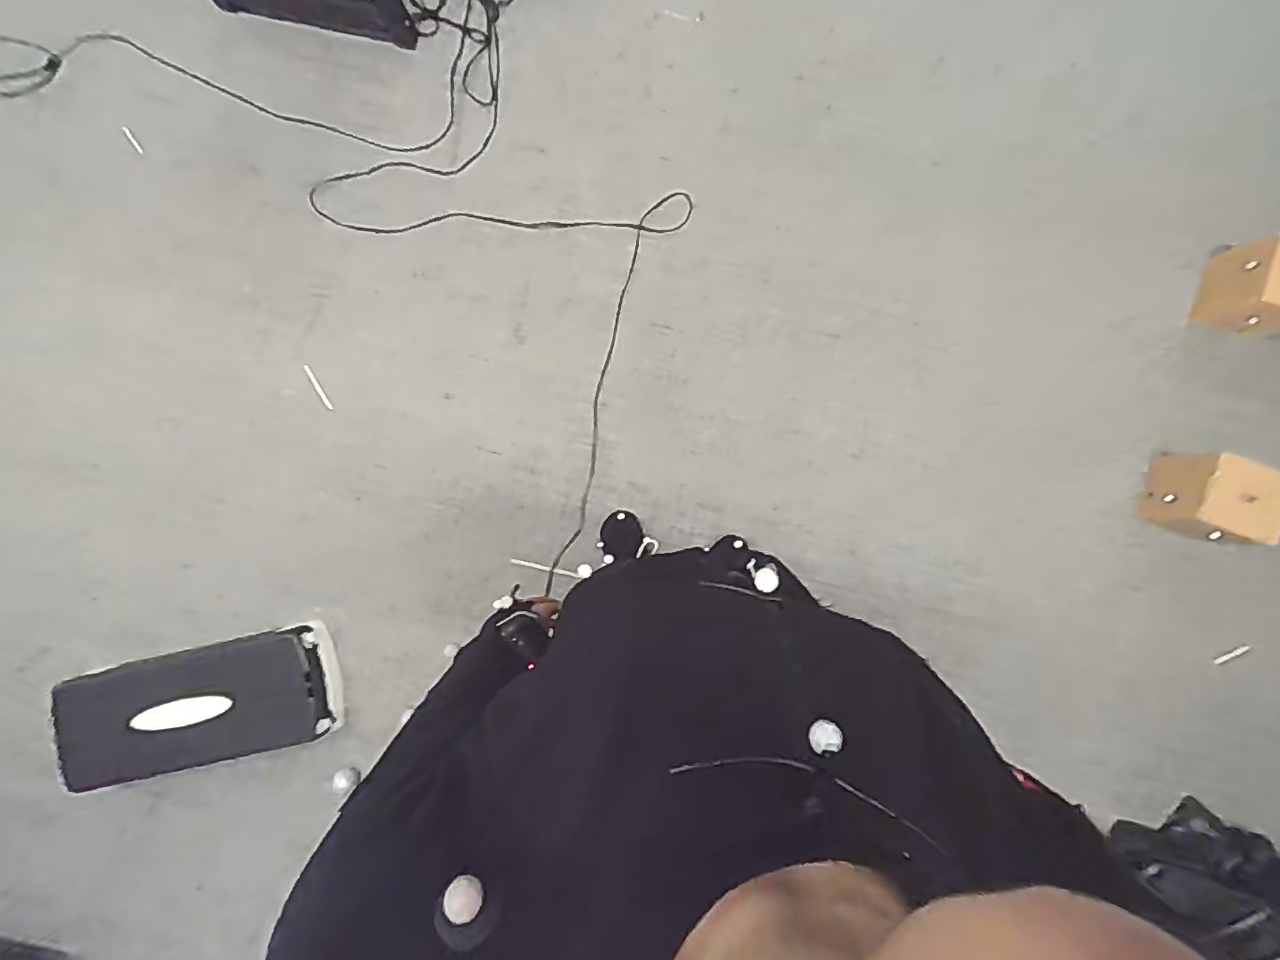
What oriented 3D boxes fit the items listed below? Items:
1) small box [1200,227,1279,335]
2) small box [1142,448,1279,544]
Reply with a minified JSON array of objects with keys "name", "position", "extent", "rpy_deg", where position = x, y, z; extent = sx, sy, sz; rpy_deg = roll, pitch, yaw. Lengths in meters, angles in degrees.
[{"name":"small box","position":[1.493,-0.462,1.273],"extent":[0.168,0.176,0.179],"rpy_deg":[17,88,3]},{"name":"small box","position":[1.339,0.038,1.256],"extent":[0.179,0.176,0.168],"rpy_deg":[20,90,2]}]
